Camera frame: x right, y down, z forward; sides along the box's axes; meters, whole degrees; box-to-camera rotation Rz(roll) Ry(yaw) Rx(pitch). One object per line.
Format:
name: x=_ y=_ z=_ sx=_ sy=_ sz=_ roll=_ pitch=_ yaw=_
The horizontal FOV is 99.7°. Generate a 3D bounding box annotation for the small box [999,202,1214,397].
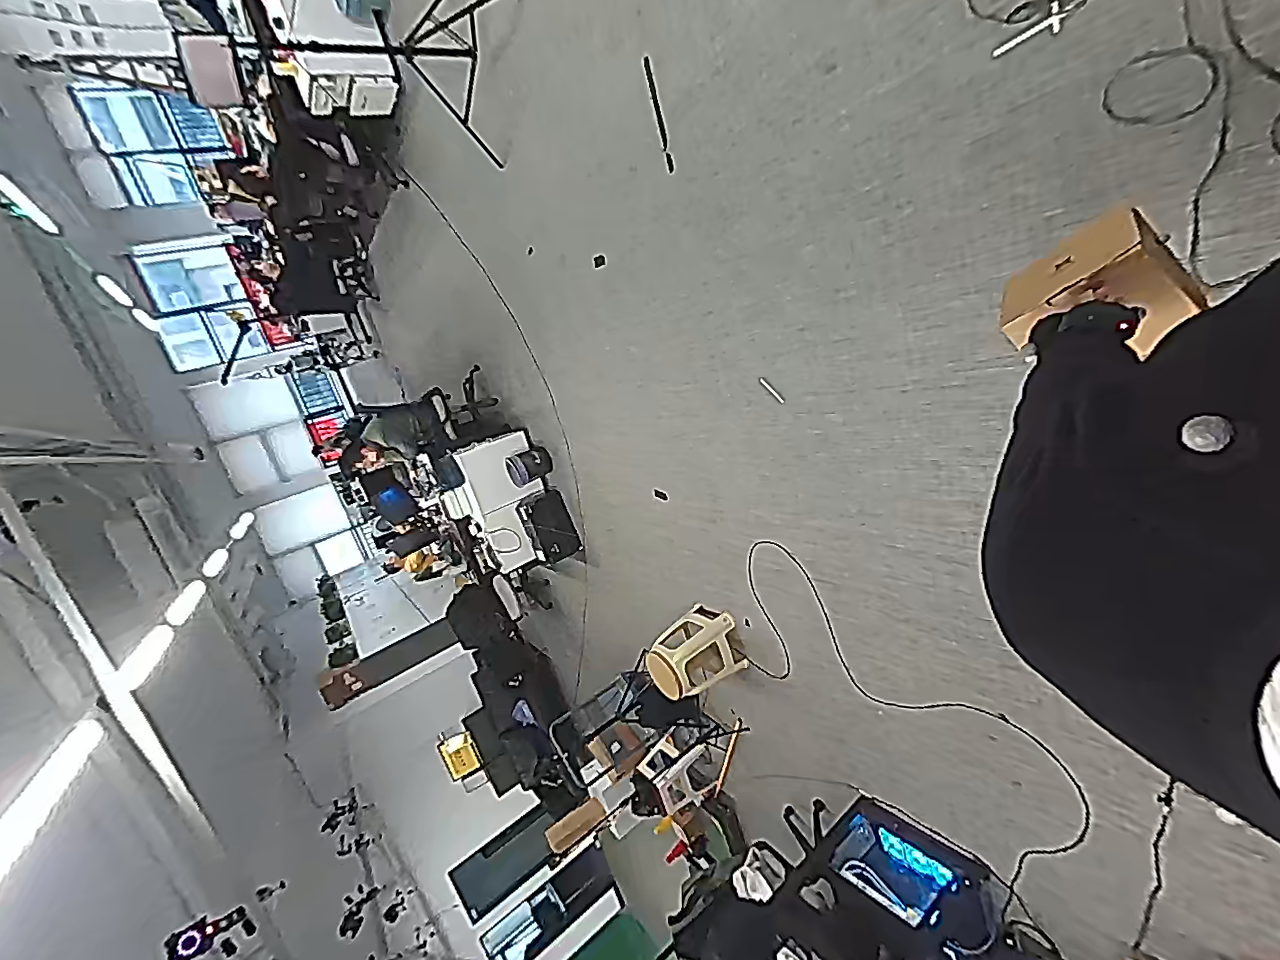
small box: x=0.642 y=-0.241 z=0.756 sx=0.176 sy=0.179 sz=0.168 roll=44 pitch=141 yaw=-7
